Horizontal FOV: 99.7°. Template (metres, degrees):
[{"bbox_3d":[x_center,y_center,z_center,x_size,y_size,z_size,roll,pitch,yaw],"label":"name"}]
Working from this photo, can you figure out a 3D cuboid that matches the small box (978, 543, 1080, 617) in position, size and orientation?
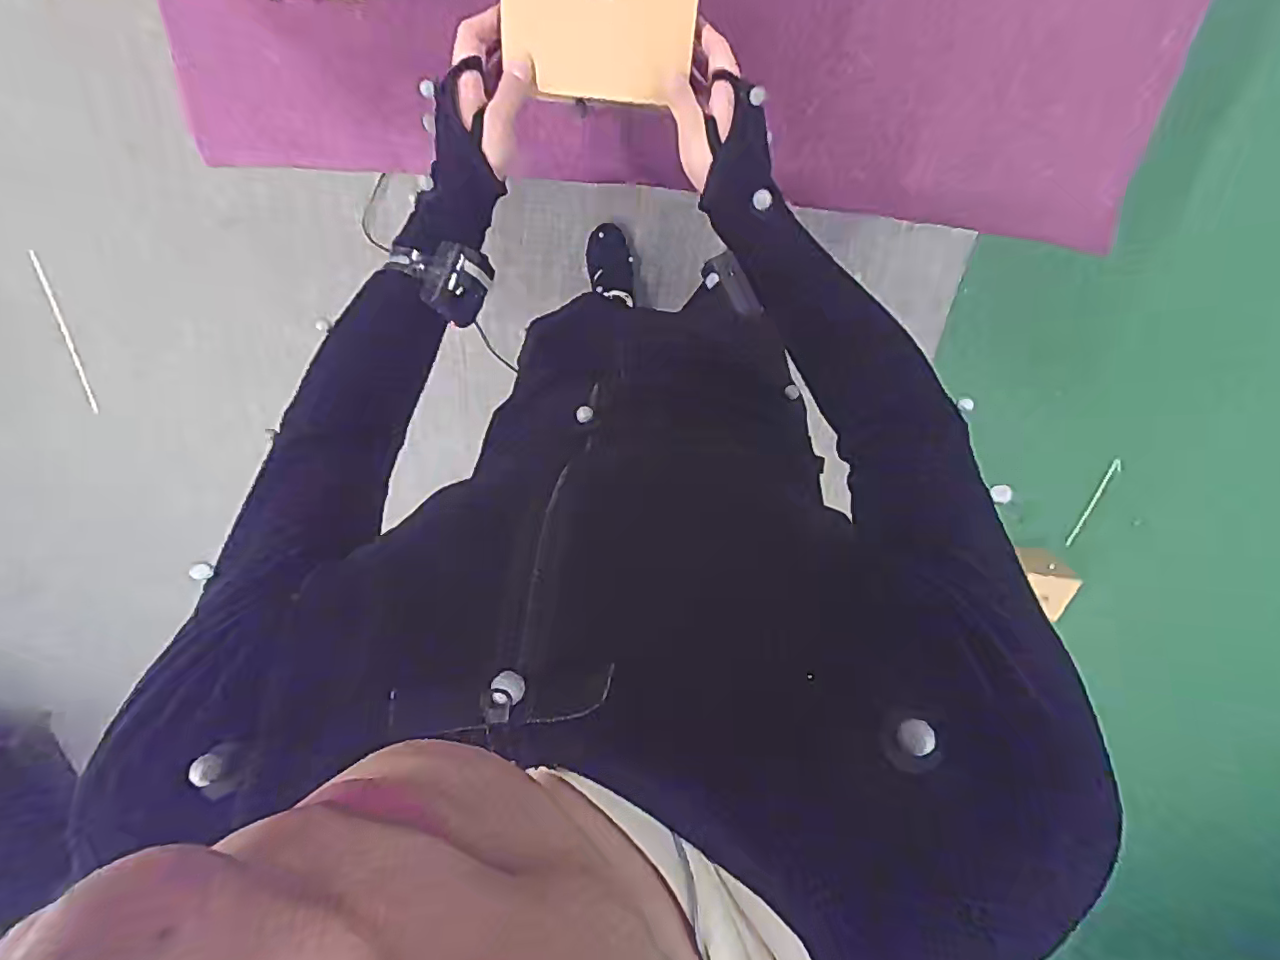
[{"bbox_3d":[1.257,0.322,1.761,0.179,0.176,0.168,7,117,-2],"label":"small box"}]
